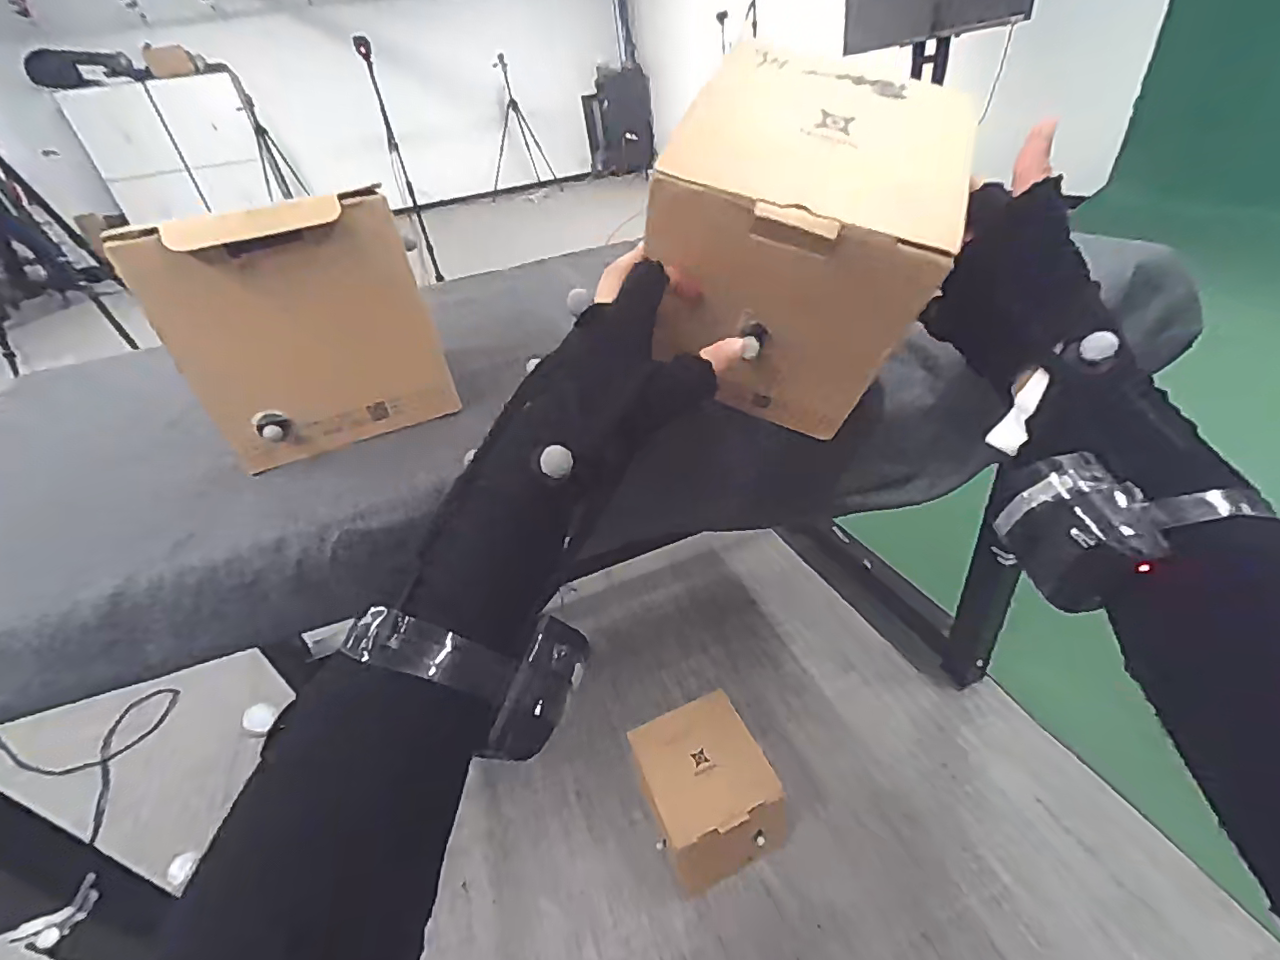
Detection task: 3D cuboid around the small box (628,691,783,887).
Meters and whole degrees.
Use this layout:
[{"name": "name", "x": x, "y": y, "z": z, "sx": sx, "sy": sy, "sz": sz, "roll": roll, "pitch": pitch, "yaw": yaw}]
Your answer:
[{"name": "small box", "x": 0.098, "y": 0.463, "z": 0.807, "sx": 0.168, "sy": 0.176, "sz": 0.179, "roll": -19, "pitch": 34, "yaw": -15}]

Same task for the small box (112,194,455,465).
[{"name": "small box", "x": -0.271, "y": -0.130, "z": 0.458, "sx": 0.168, "sy": 0.176, "sz": 0.179, "roll": -21, "pitch": 34, "yaw": -17}]

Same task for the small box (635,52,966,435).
[{"name": "small box", "x": 0.102, "y": -0.161, "z": 0.394, "sx": 0.168, "sy": 0.176, "sz": 0.179, "roll": 20, "pitch": 61, "yaw": 8}]
